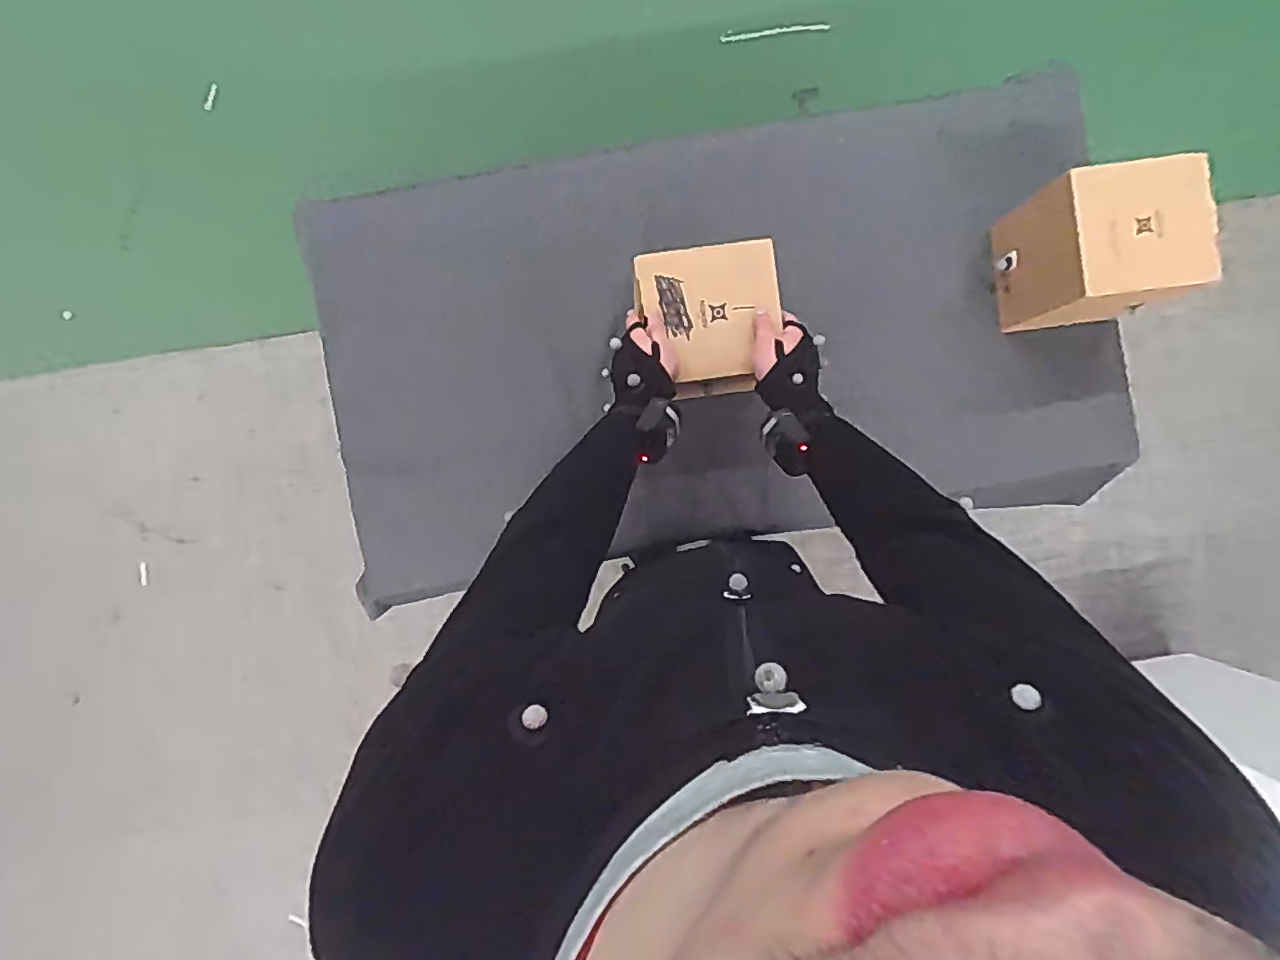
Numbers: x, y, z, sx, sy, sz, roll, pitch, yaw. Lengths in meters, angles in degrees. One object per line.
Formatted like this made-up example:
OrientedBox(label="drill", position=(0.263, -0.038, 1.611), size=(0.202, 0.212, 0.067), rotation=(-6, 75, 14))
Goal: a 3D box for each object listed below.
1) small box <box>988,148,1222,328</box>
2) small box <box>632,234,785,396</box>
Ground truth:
OrientedBox(label="small box", position=(0.627, -0.321, 0.749), size=(0.179, 0.176, 0.168), rotation=(-7, 90, 1))
OrientedBox(label="small box", position=(0.084, -0.214, 0.745), size=(0.179, 0.176, 0.168), rotation=(-7, 92, -1))
